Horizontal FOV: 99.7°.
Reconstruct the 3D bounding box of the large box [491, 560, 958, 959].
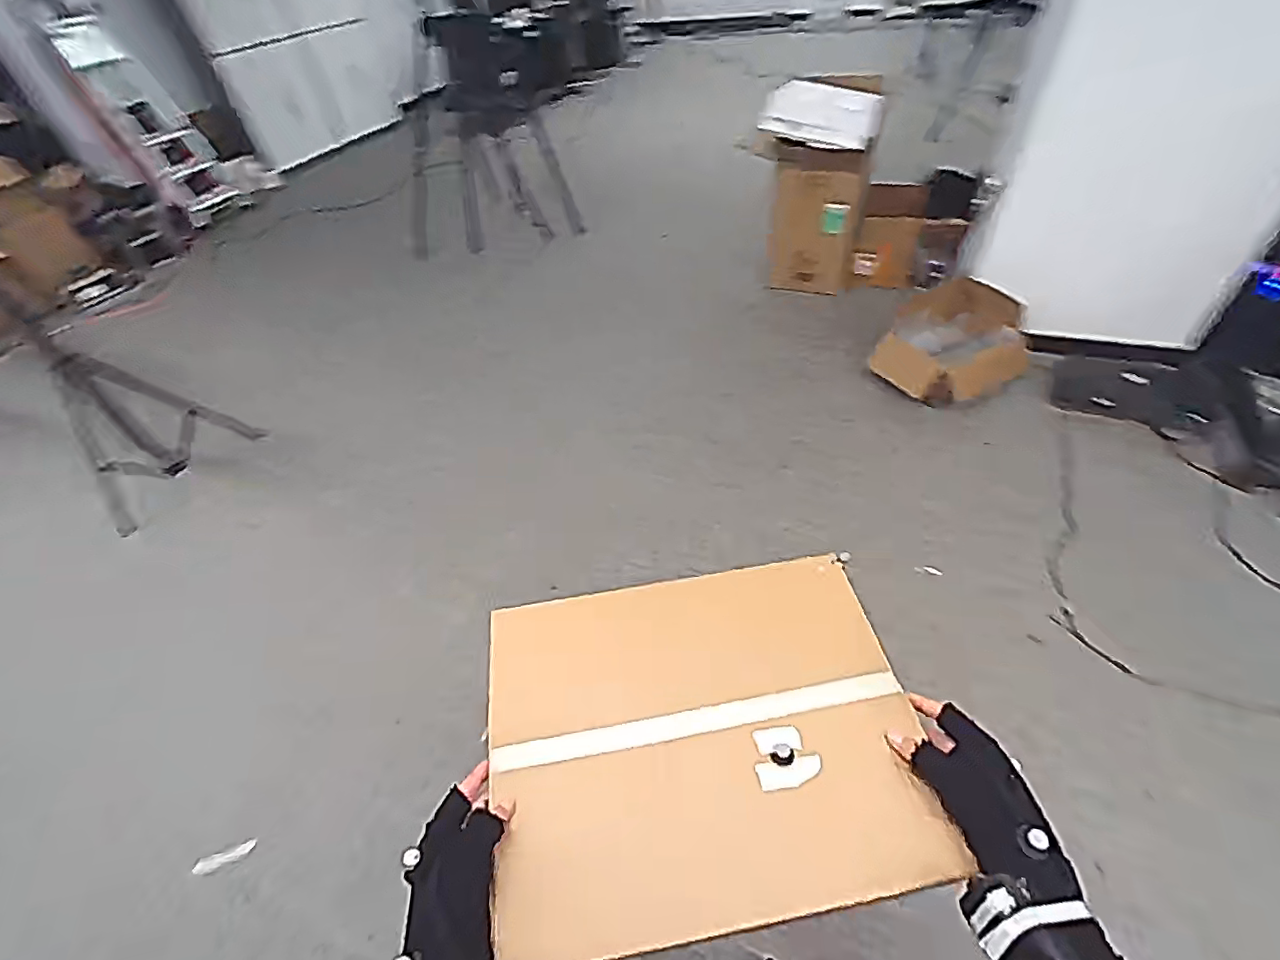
[{"bbox_3d":[0.058,0.341,0.650,0.408,0.320,0.320,-9,49,-6],"label":"large box"}]
